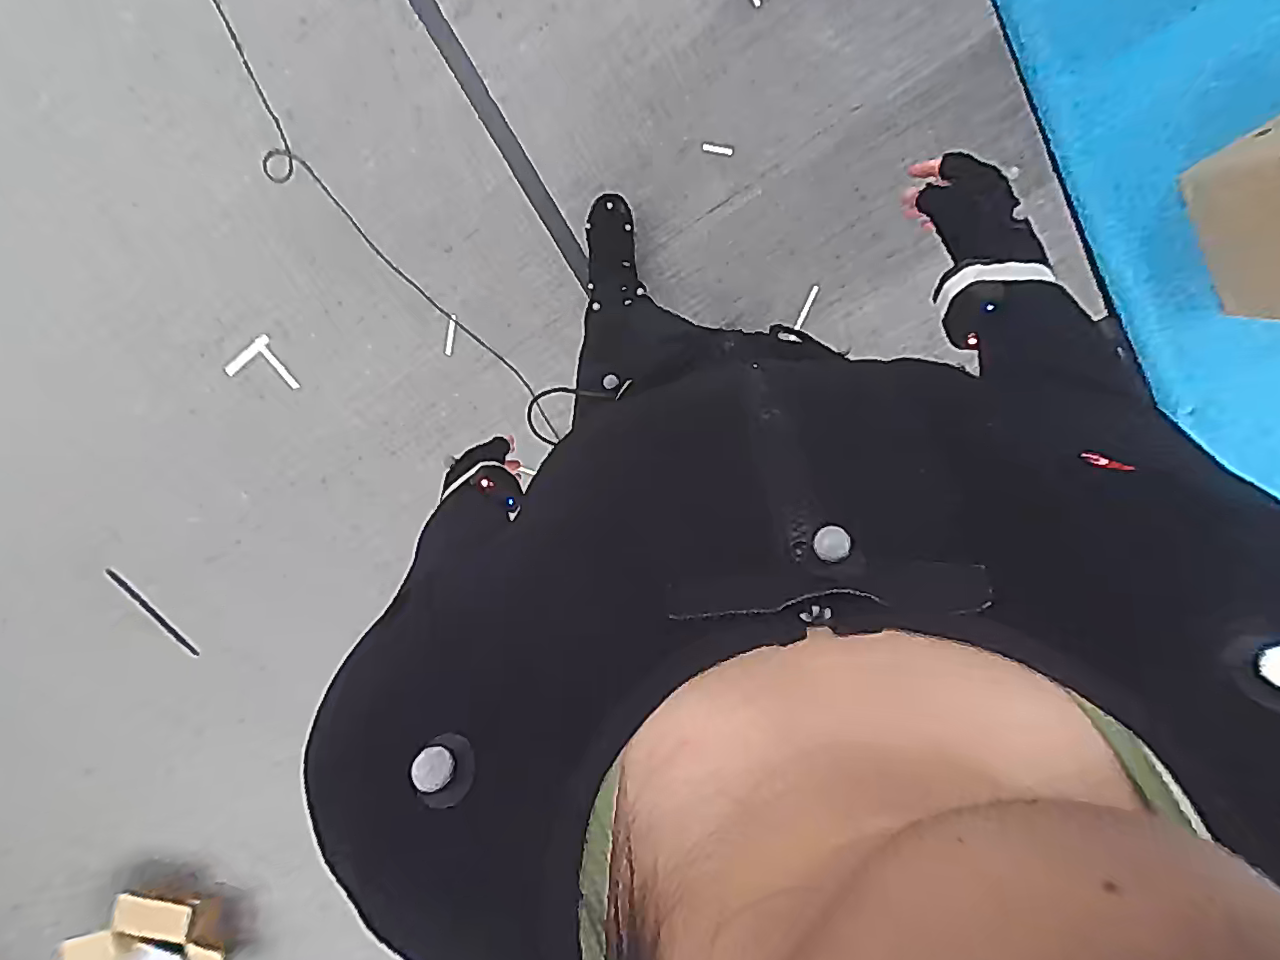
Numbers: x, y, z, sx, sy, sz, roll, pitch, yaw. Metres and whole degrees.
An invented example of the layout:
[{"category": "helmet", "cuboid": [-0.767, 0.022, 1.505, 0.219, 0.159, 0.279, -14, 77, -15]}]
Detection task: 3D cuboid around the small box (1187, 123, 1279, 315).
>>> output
[{"category": "small box", "cuboid": [0.674, -0.265, 0.498, 0.168, 0.176, 0.179, -30, 105, 16]}]
